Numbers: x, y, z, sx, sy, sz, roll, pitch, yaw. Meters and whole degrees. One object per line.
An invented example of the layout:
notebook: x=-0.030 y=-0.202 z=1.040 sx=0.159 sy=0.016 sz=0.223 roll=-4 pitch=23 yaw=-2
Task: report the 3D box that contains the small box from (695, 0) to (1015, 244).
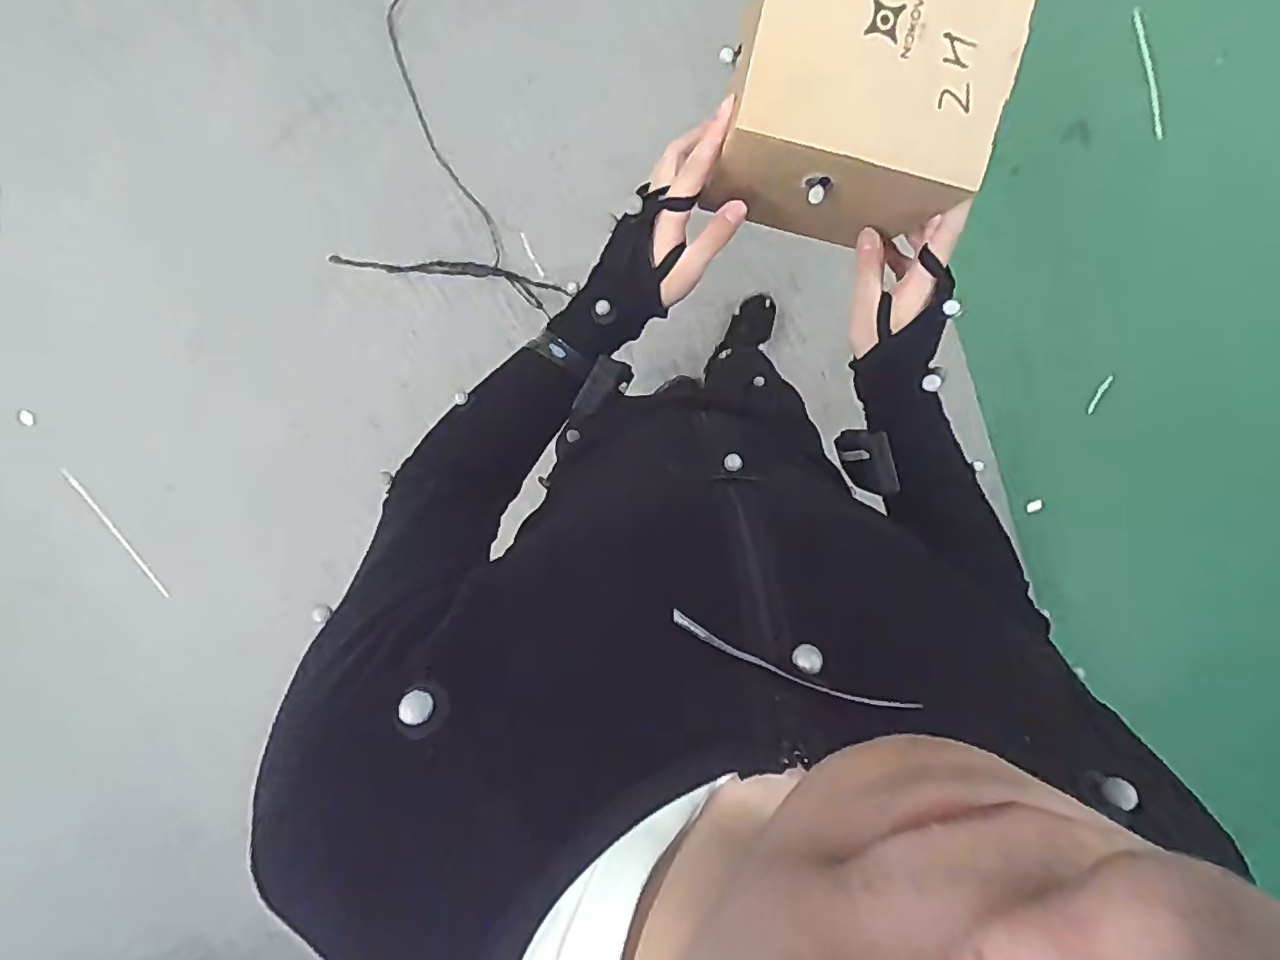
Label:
small box: x=0.149 y=-0.306 z=0.430 sx=0.179 sy=0.176 sz=0.168 roll=12 pitch=100 yaw=-4
